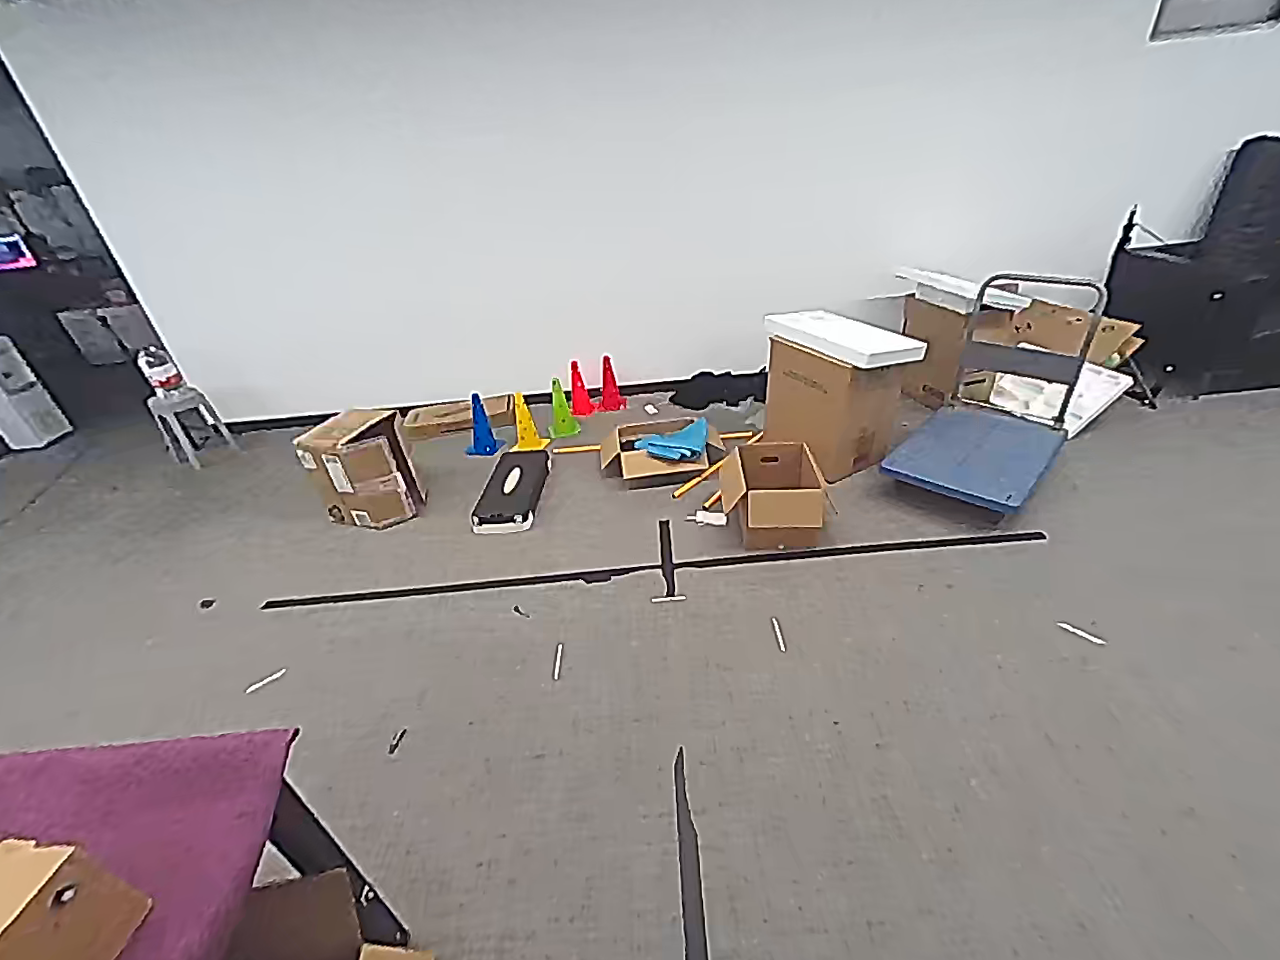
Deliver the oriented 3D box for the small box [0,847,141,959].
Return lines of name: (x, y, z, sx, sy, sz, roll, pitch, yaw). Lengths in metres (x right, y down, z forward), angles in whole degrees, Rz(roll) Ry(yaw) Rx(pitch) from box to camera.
small box: (-0.751, 0.557, 0.621, 0.168, 0.176, 0.179, -3, 31, 6)
